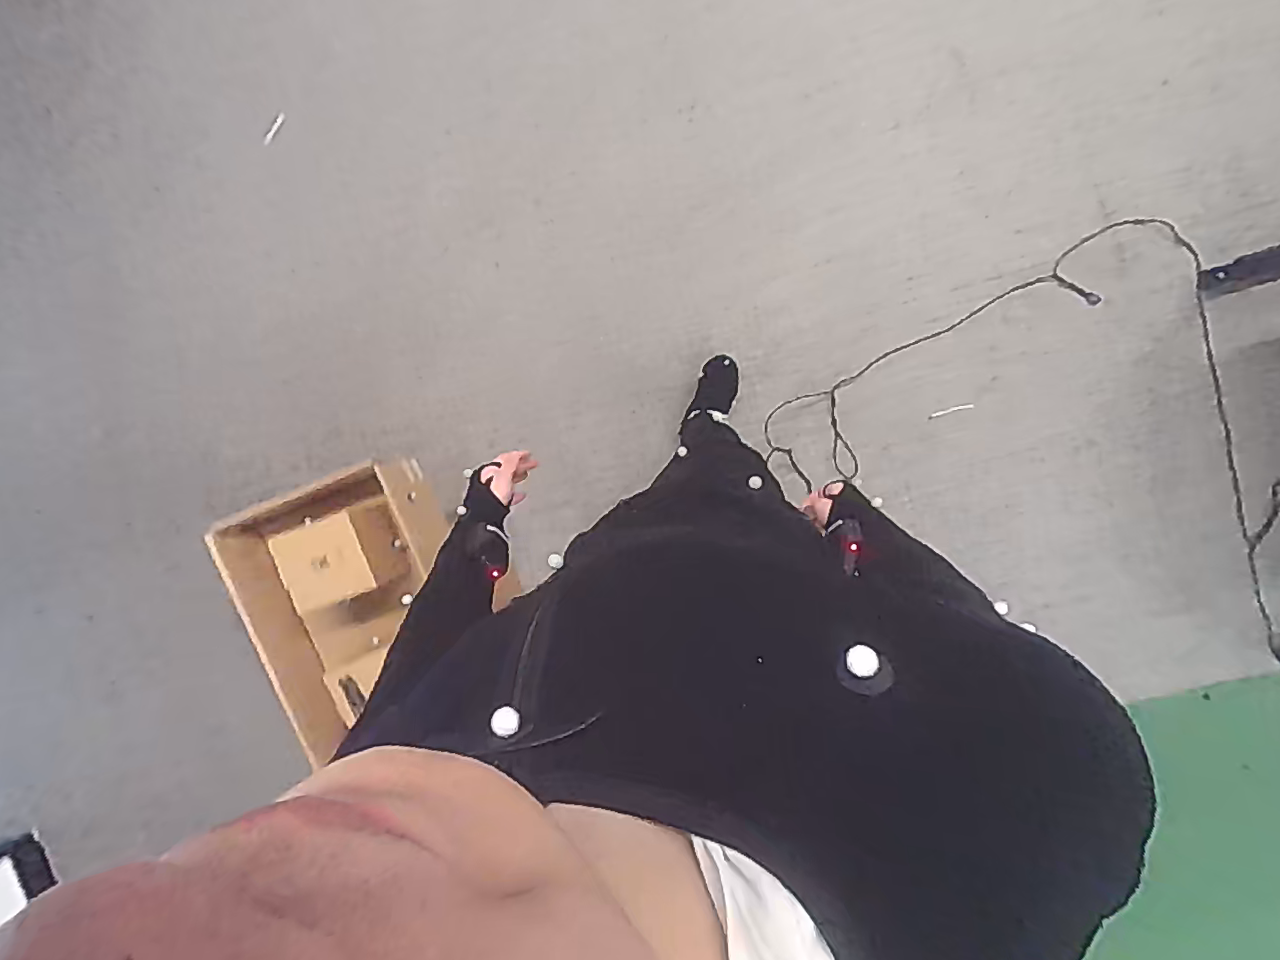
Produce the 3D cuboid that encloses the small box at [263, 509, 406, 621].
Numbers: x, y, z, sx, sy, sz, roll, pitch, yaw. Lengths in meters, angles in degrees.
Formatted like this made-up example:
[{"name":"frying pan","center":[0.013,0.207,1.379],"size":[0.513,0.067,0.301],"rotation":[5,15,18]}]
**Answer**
[{"name":"small box","center":[-0.632,0.171,1.140],"size":[0.179,0.176,0.168],"rotation":[-20,95,3]}]
